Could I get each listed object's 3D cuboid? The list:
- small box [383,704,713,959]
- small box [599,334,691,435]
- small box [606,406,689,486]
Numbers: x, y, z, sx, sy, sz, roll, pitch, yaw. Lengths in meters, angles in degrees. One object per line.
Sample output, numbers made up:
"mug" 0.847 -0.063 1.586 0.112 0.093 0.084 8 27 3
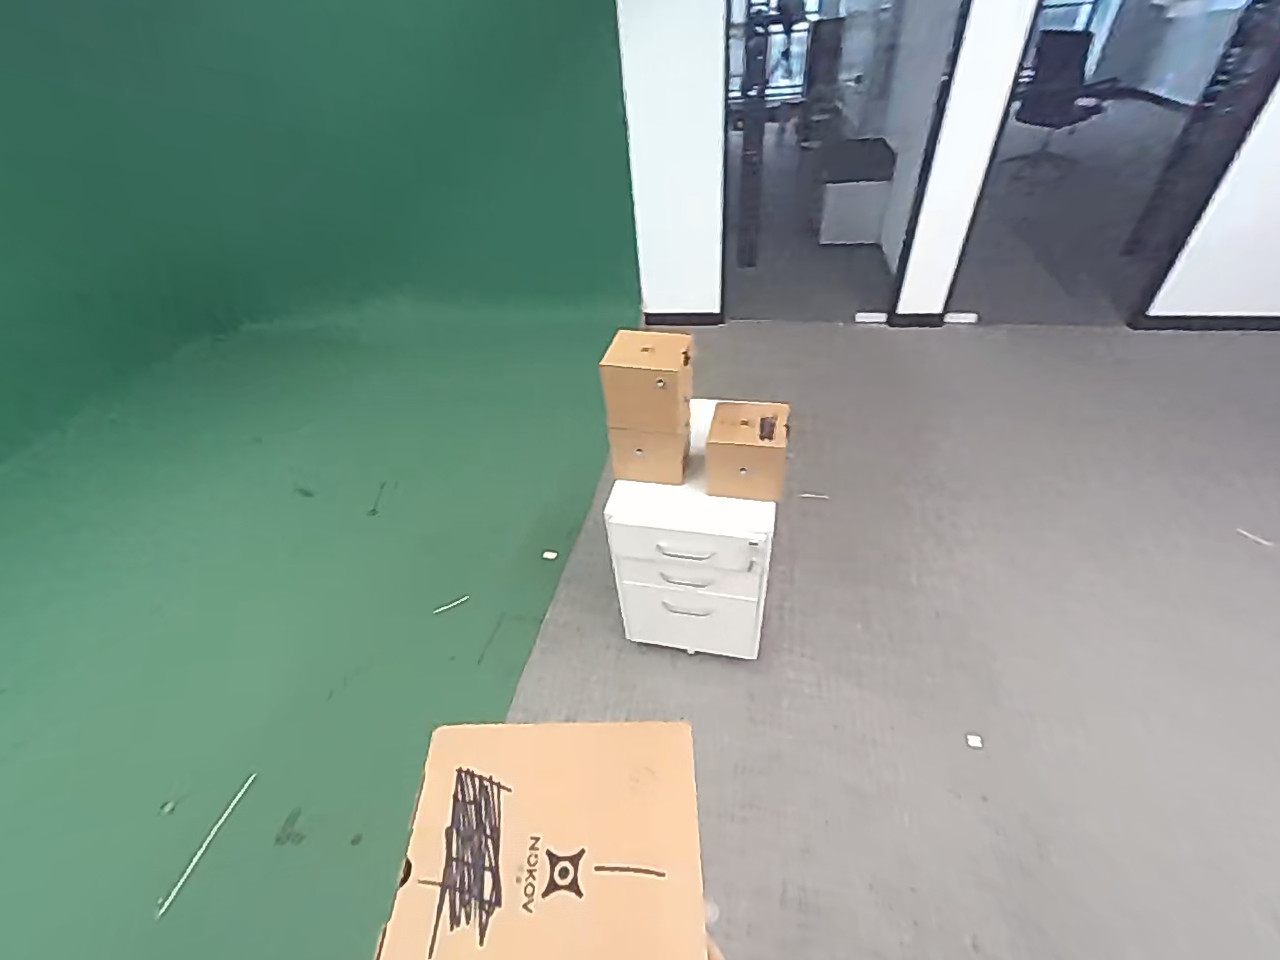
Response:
"small box" -0.046 0.272 0.374 0.179 0.176 0.168 0 45 1
"small box" 0.017 -0.222 1.258 0.179 0.176 0.168 8 43 11
"small box" 0.026 -0.102 1.369 0.179 0.176 0.168 5 43 11
